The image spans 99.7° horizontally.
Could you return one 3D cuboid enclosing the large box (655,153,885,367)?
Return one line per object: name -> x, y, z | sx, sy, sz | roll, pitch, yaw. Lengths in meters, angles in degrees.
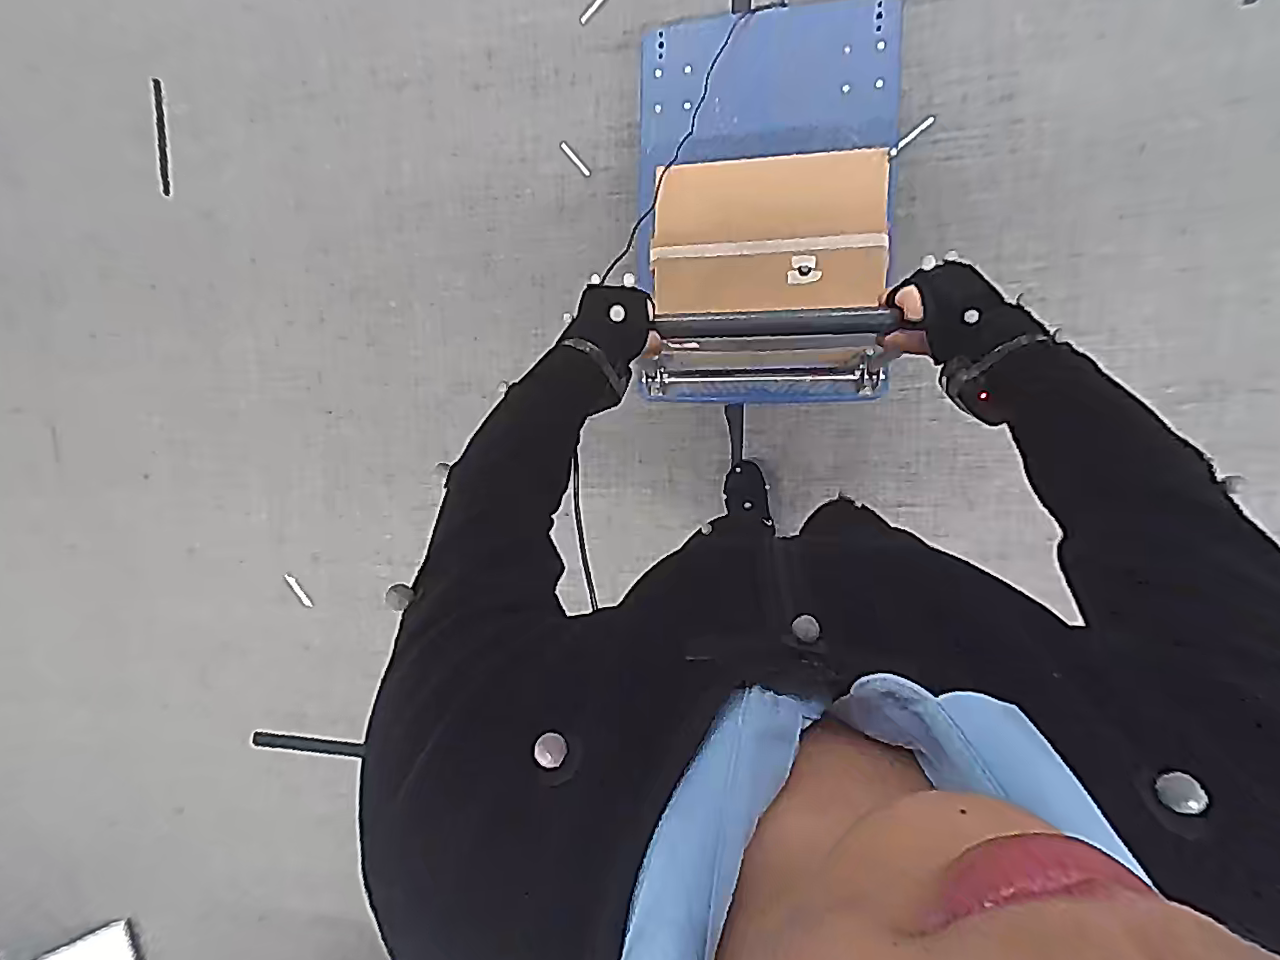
large box -> 0.248, -0.414, 1.108 | 0.408, 0.320, 0.320 | 1, 94, 10
